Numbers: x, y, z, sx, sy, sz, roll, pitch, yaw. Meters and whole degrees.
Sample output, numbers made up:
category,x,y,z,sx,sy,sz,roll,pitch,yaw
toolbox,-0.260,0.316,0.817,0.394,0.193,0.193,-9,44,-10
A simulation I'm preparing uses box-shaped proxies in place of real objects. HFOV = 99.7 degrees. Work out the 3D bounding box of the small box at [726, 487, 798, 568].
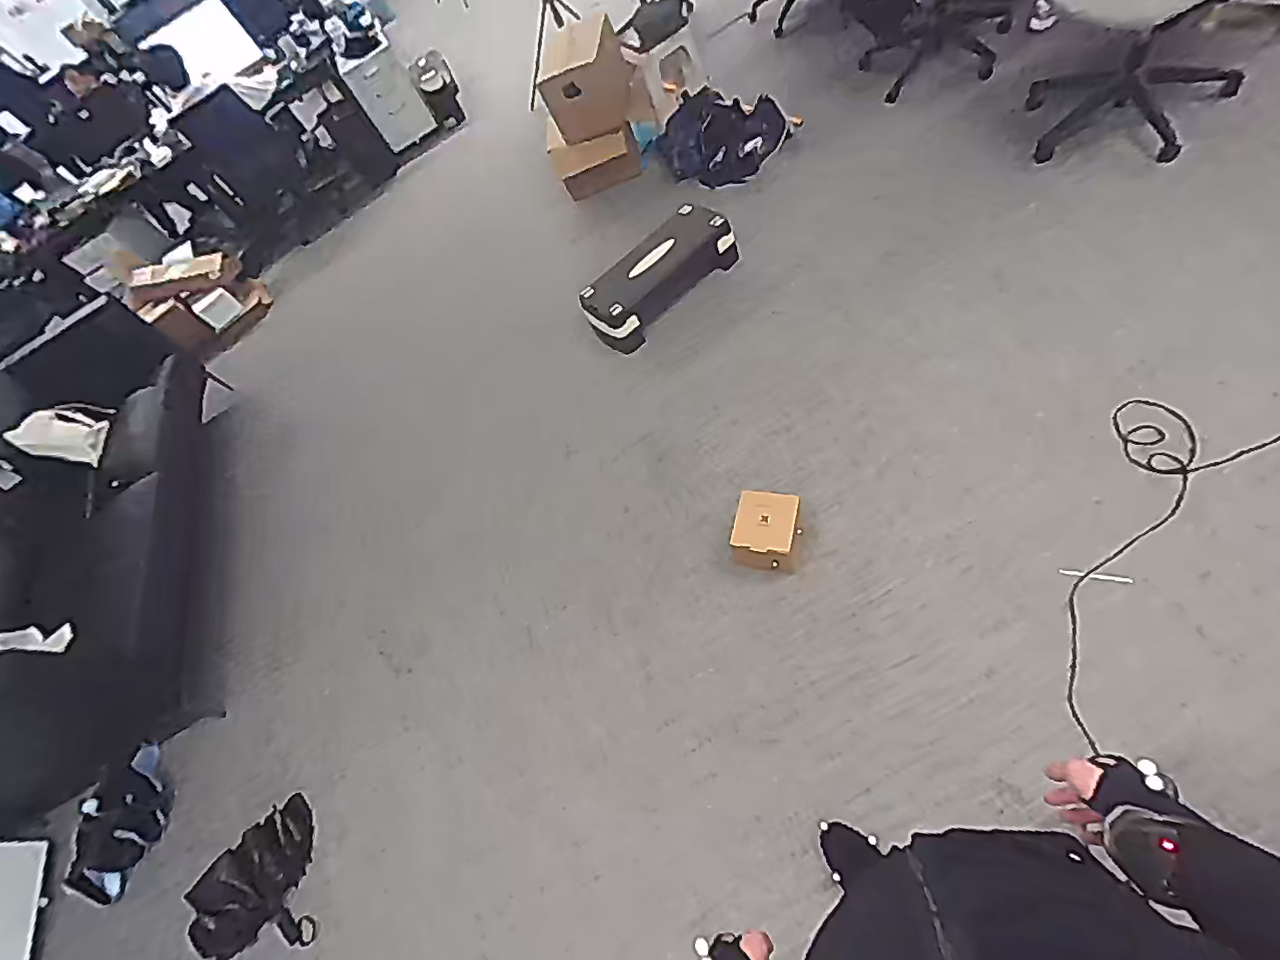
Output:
category,x,y,z,sx,sy,sz,roll,pitch,yaw
small box,0.364,0.143,1.579,0.168,0.176,0.179,6,62,24
